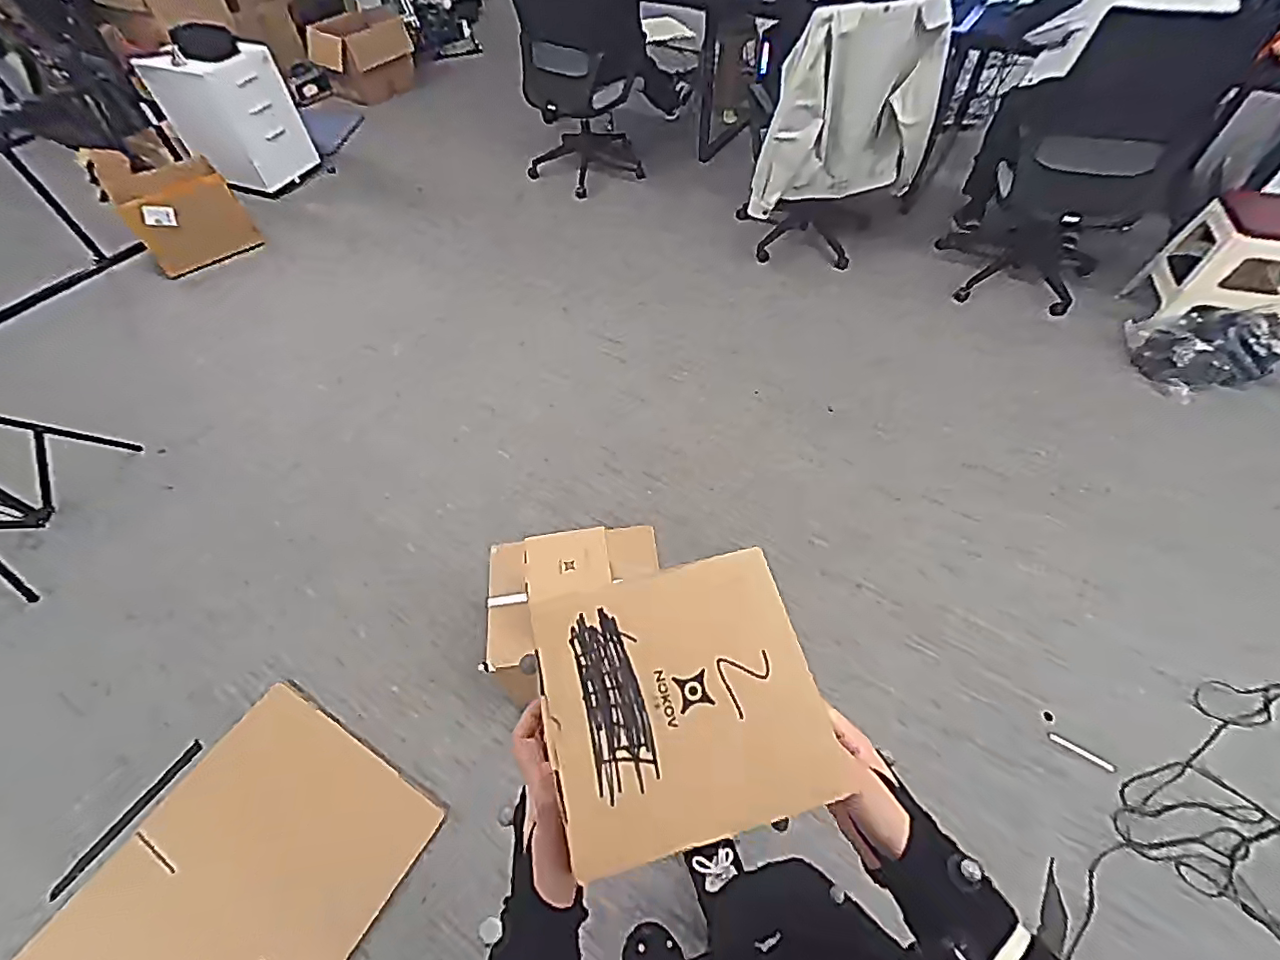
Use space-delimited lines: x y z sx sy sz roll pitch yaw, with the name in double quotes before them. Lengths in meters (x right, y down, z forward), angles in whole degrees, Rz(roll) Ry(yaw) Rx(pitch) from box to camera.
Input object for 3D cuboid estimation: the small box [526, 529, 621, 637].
"small box" -0.142 0.230 1.180 0.179 0.176 0.168 -9 56 -5
